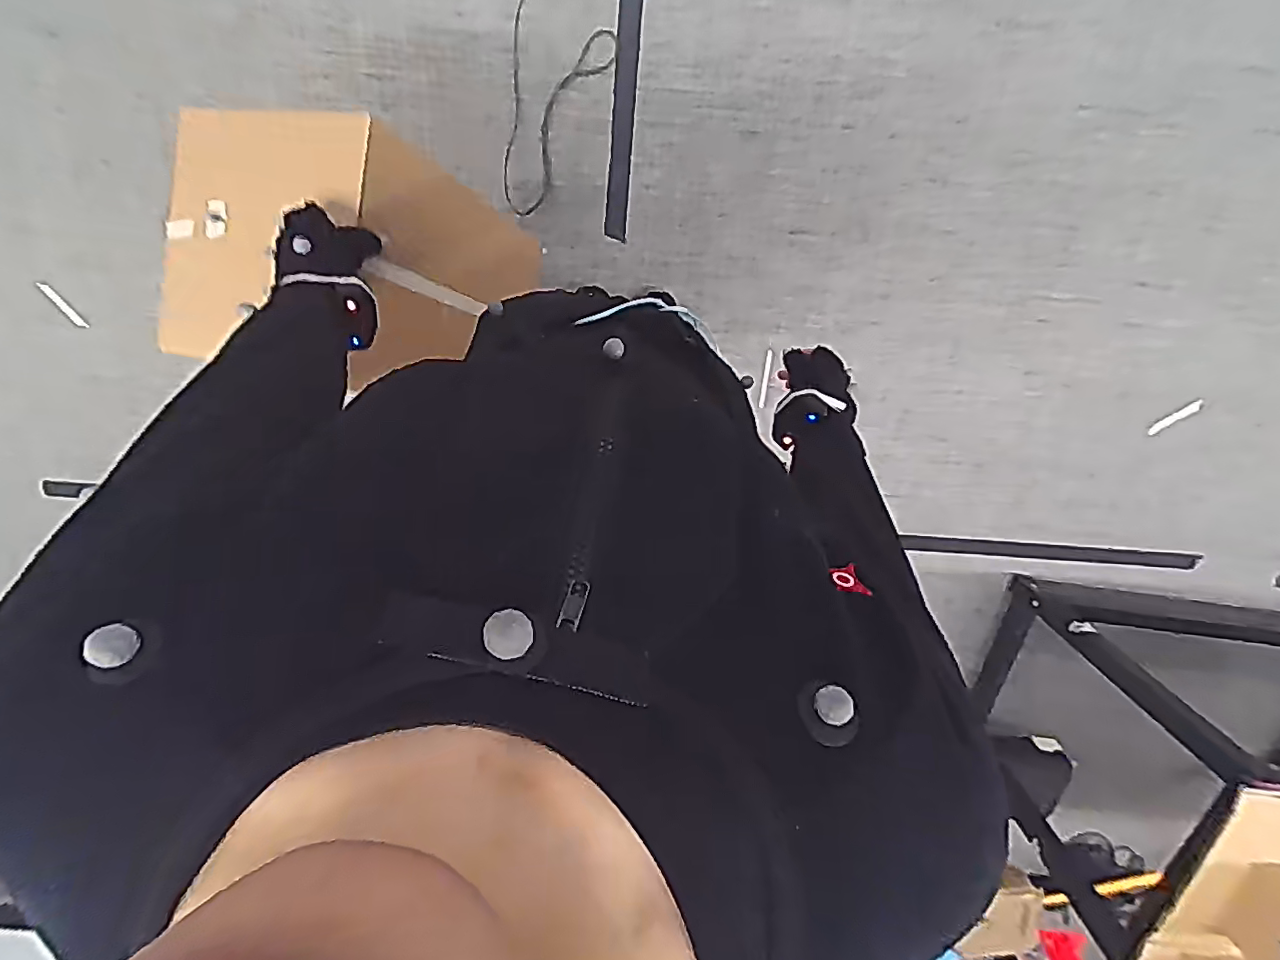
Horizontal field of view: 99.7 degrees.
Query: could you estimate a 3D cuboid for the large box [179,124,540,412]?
[{"bbox_3d":[-0.407,-0.298,0.861,0.320,0.408,0.320,14,96,15],"label":"large box"}]
